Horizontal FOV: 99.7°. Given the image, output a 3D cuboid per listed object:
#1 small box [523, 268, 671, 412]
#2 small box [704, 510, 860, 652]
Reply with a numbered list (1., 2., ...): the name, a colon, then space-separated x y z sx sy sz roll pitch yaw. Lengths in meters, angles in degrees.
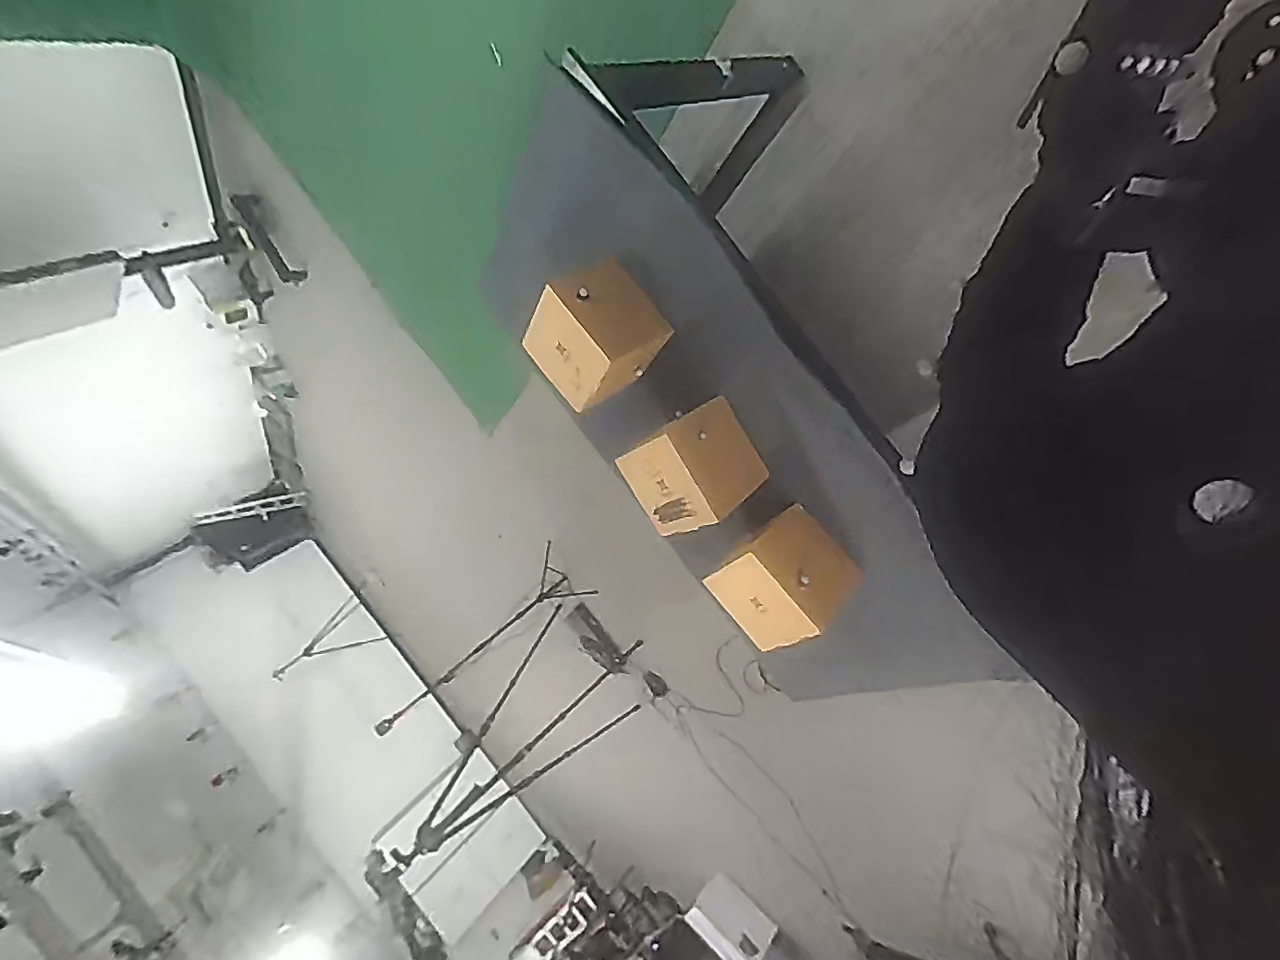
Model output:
1. small box: -0.078 -0.261 0.986 0.179 0.176 0.168 51 144 3
2. small box: 0.258 0.177 0.983 0.179 0.176 0.168 49 143 6
